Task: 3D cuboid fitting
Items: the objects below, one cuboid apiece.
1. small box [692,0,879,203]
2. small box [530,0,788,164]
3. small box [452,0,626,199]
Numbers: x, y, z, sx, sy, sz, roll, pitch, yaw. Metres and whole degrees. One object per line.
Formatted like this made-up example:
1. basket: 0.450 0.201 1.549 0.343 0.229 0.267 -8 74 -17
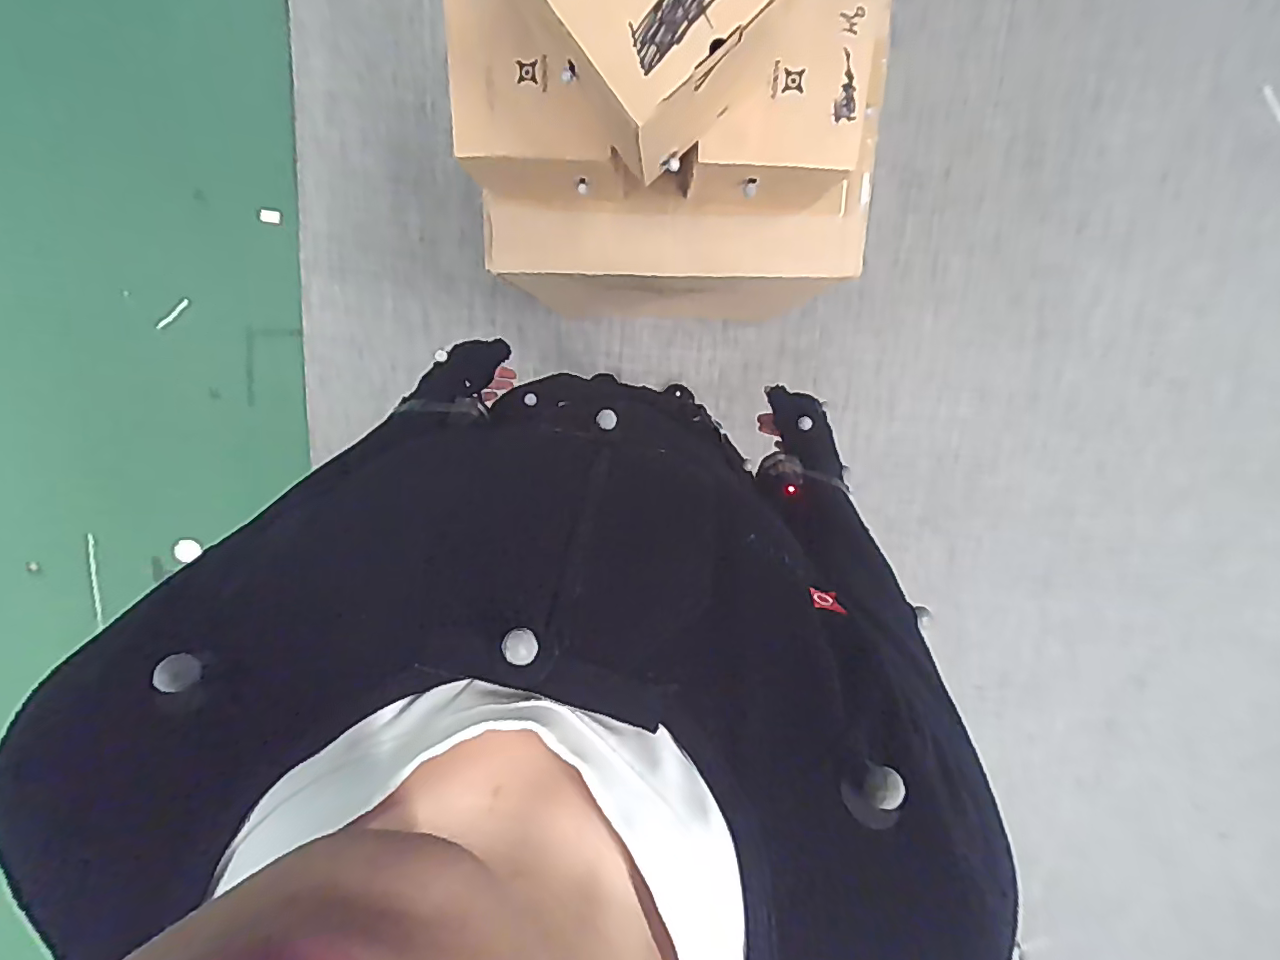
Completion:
1. small box: 0.155 -0.440 0.642 0.179 0.176 0.168 4 105 2
2. small box: 0.015 -0.418 0.482 0.168 0.176 0.179 -38 99 10
3. small box: -0.106 -0.449 0.647 0.179 0.176 0.168 1 103 2
